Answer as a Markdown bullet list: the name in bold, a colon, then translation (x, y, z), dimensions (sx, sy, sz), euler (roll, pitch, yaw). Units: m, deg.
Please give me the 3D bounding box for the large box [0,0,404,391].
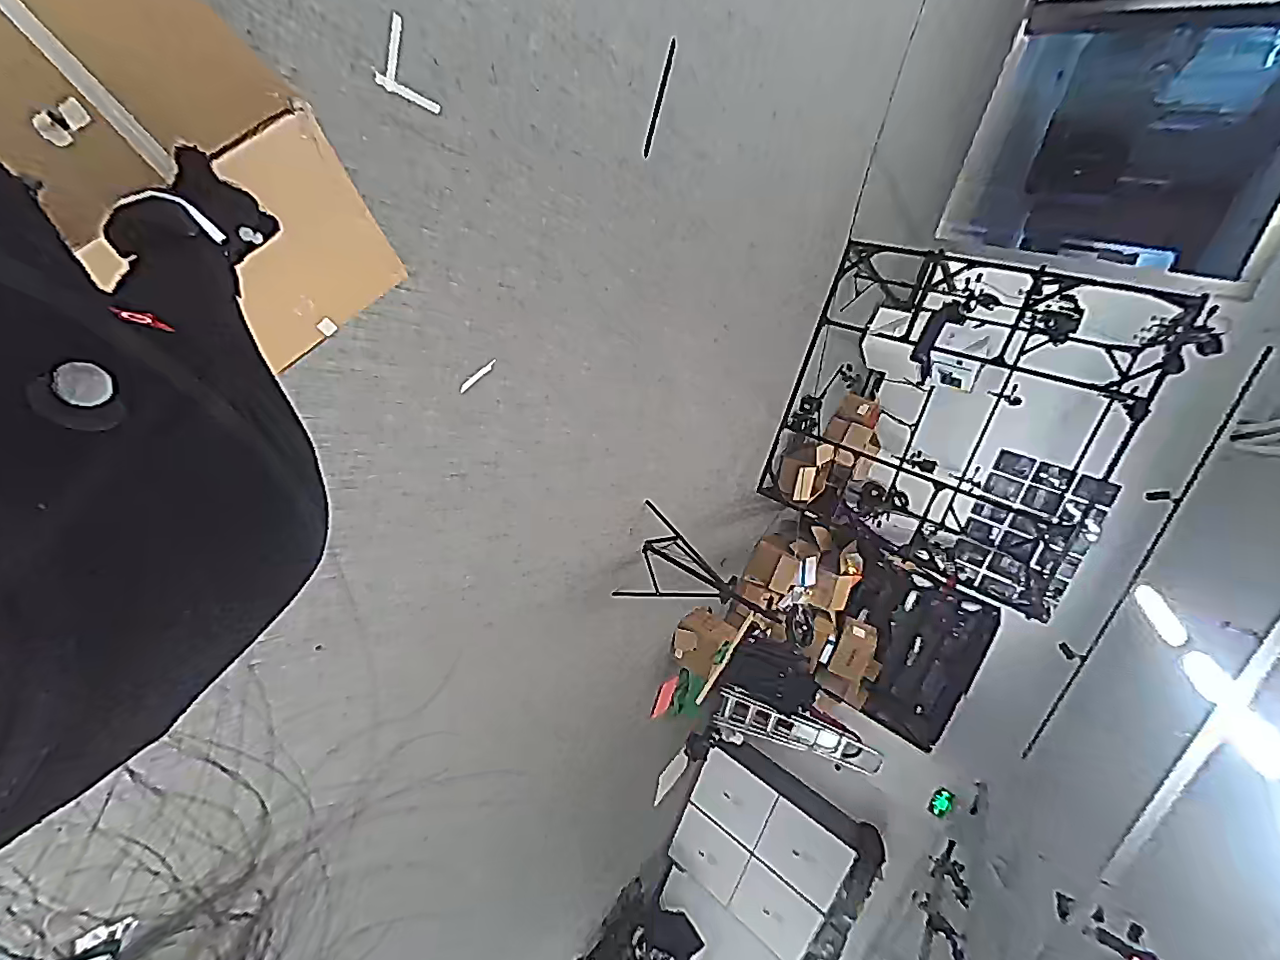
- **large box**: translation (-0.621, -0.403, 0.743), dimensions (0.320, 0.408, 0.320), euler (-44, 173, -10)
